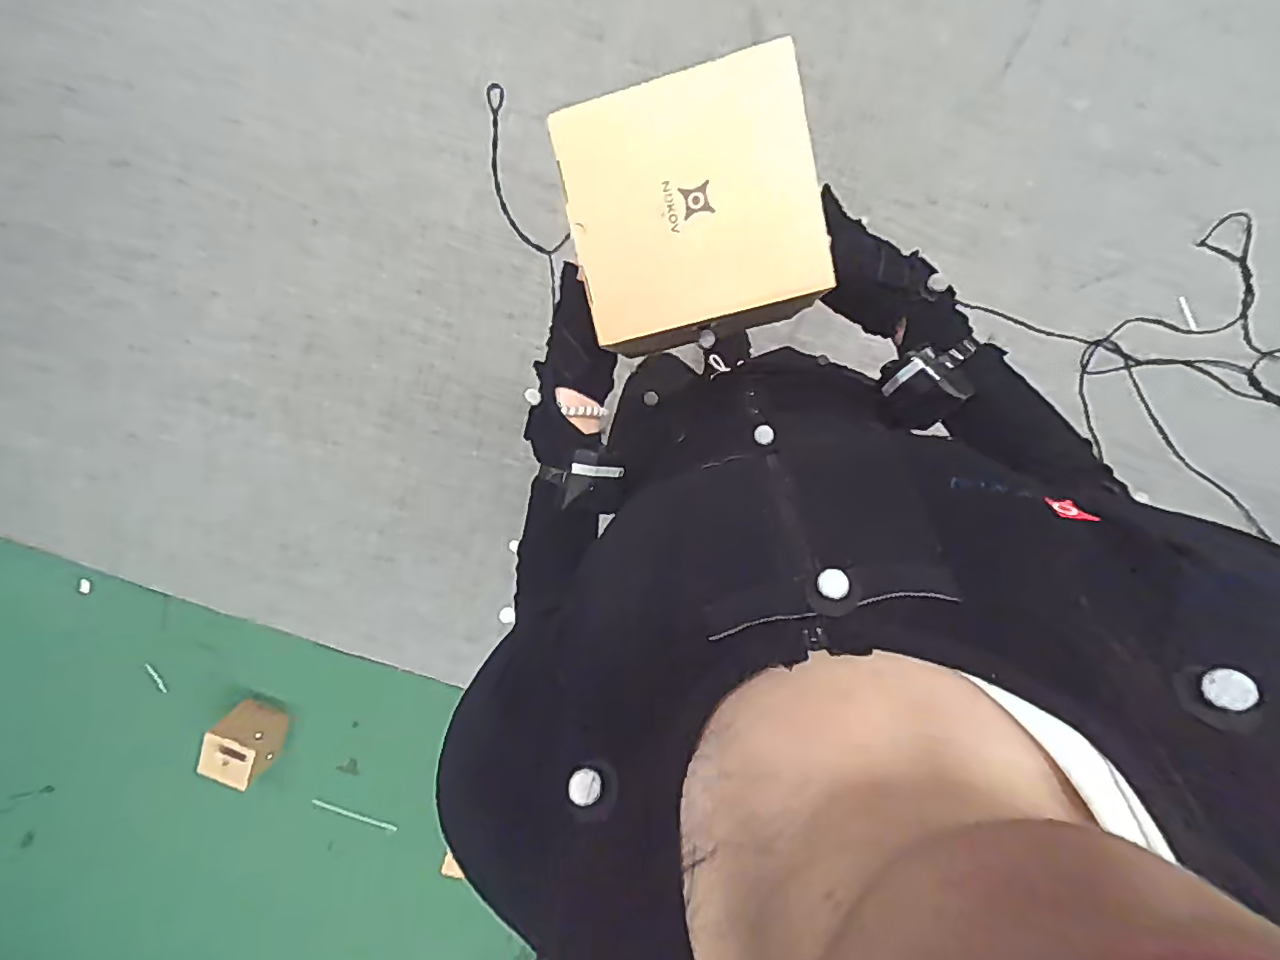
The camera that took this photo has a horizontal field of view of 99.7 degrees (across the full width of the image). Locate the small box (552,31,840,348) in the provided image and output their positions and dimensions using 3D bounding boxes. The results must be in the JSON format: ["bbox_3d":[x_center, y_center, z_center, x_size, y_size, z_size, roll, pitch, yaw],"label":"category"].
[{"bbox_3d":[0.047,-0.212,0.451,0.179,0.176,0.168,-12,99,9],"label":"small box"}]
